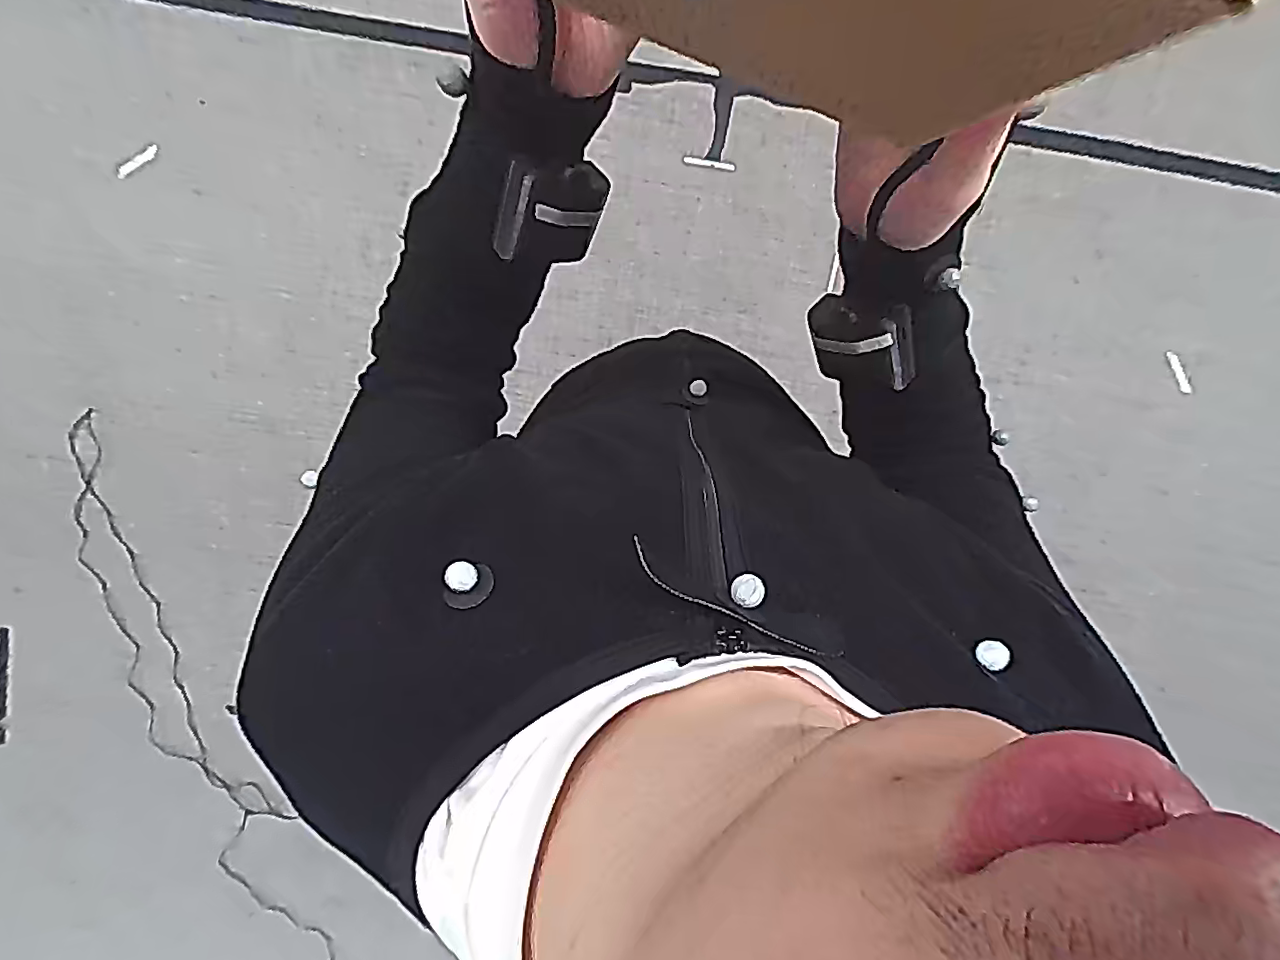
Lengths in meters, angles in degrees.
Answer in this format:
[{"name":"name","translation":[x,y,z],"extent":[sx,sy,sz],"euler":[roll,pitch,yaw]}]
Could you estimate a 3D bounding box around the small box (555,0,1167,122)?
[{"name":"small box","translation":[0.051,-0.215,0.133],"extent":[0.179,0.176,0.168],"euler":[19,117,-4]}]
